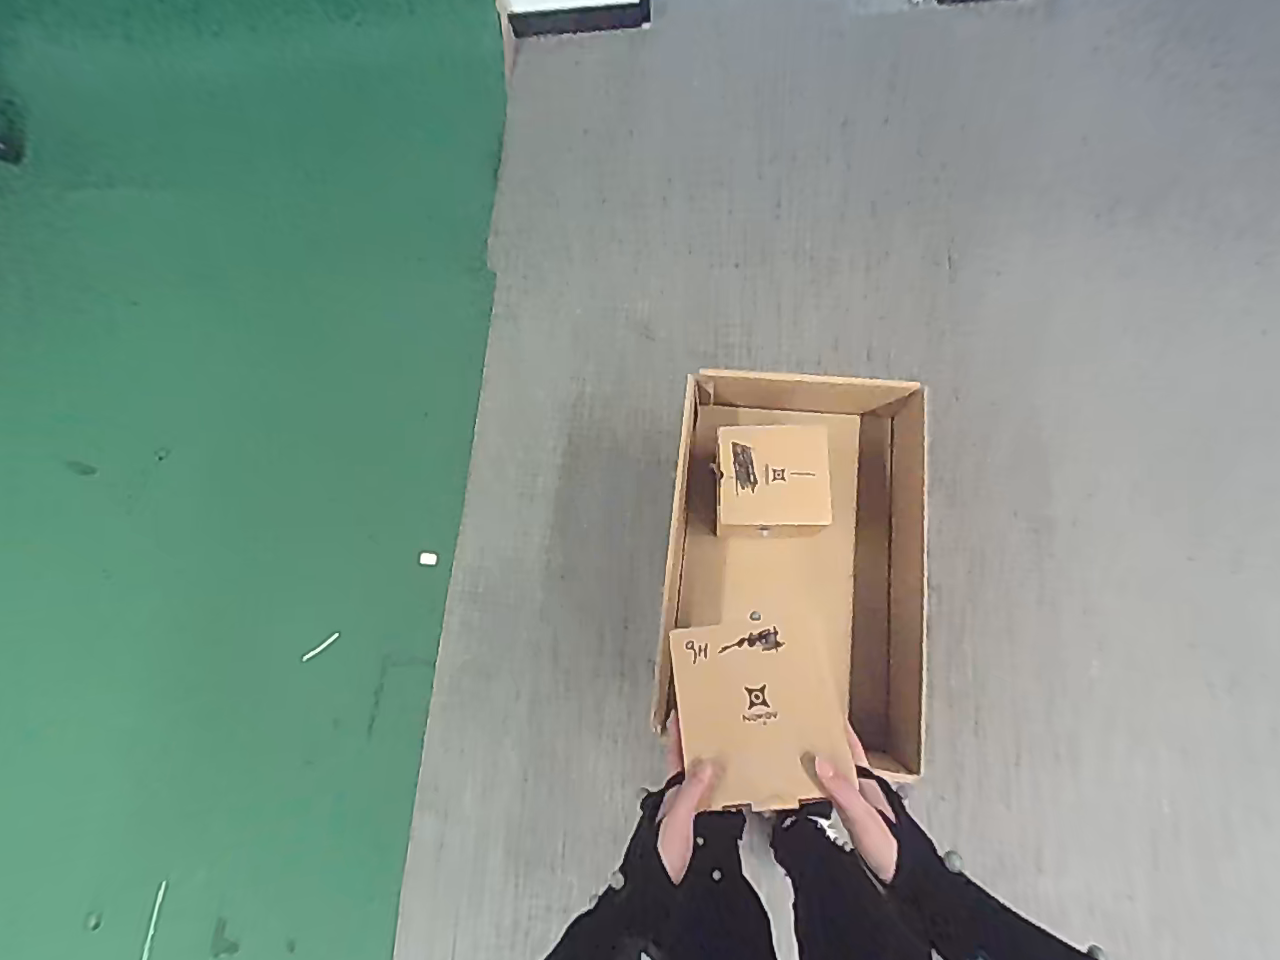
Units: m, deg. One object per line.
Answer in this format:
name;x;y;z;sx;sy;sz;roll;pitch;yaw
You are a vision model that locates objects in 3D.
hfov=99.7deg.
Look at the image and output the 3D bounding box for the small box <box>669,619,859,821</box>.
small box;0.127;0.269;0.616;0.168;0.176;0.179;-7;63;2
